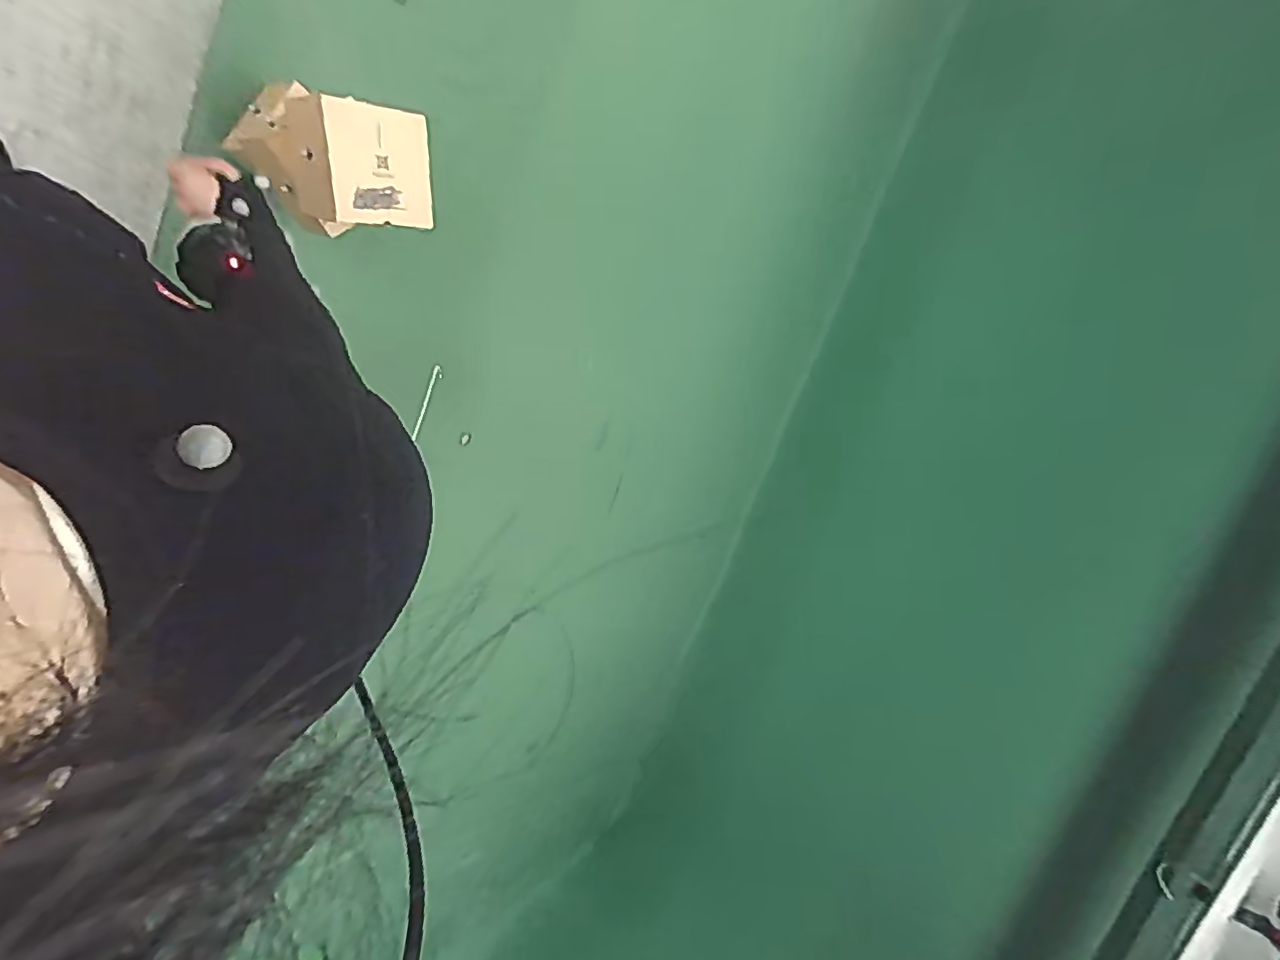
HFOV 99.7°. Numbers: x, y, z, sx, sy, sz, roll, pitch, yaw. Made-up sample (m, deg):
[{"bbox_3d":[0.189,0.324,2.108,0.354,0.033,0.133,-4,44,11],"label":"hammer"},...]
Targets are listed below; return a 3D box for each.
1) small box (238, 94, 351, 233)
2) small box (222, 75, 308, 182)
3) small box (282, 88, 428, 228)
[{"bbox_3d":[-0.604,-0.594,1.018,0.168,0.176,0.179,-45,142,-22],"label":"small box"},{"bbox_3d":[-0.707,-0.684,1.111,0.168,0.176,0.179,-58,145,-5],"label":"small box"},{"bbox_3d":[-0.481,-0.540,0.922,0.168,0.176,0.179,-20,126,-43],"label":"small box"}]
